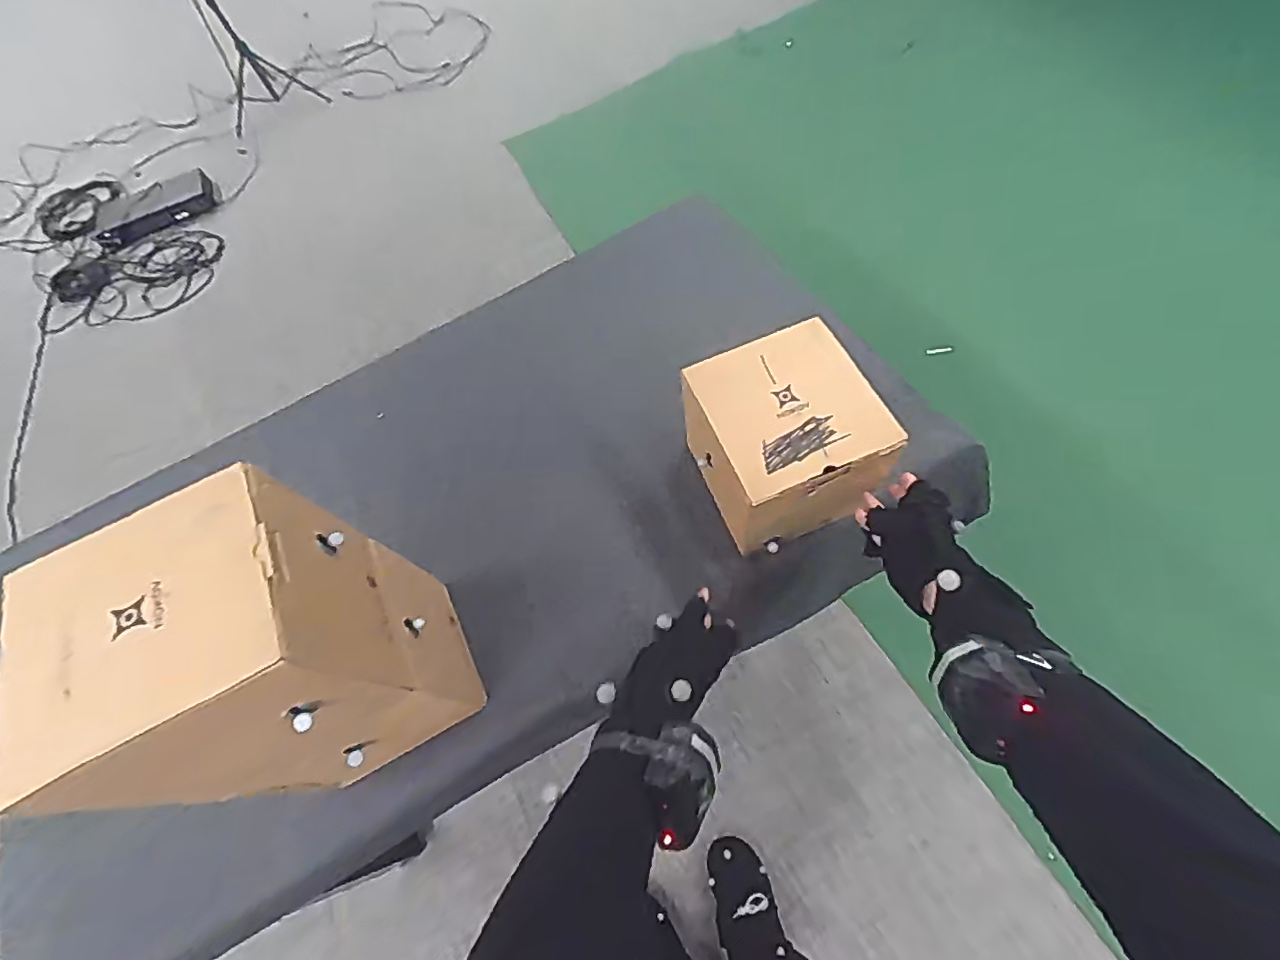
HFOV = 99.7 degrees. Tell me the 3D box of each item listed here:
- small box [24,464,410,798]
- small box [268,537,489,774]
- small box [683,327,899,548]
[{"bbox_3d":[-0.310,0.123,0.433,0.179,0.176,0.168,-29,61,-6],"label":"small box"},{"bbox_3d":[-0.291,0.195,0.578,0.179,0.176,0.168,-28,63,-6],"label":"small box"},{"bbox_3d":[0.162,-0.037,0.630,0.168,0.176,0.179,-21,62,-2],"label":"small box"}]
